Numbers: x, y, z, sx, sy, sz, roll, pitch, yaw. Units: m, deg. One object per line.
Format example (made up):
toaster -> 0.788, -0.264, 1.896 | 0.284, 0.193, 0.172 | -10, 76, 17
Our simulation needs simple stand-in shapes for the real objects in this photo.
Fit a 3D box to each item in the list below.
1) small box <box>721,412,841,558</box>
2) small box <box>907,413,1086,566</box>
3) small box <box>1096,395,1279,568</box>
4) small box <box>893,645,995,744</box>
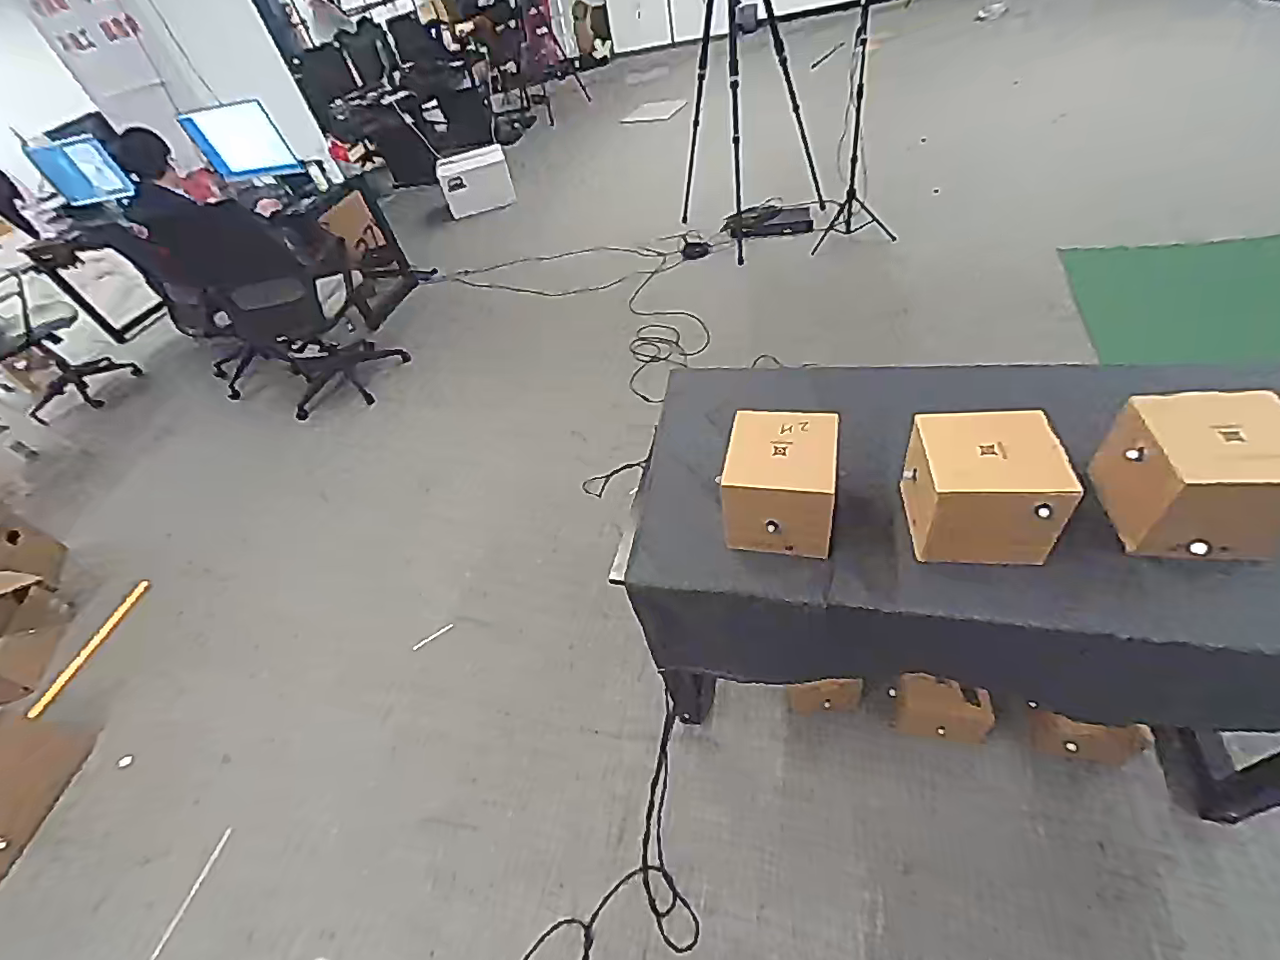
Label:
small box -> 0.237, 0.009, 0.896 | 0.168, 0.176, 0.179 | 5, 49, 18
small box -> 0.516, 0.017, 0.819 | 0.179, 0.176, 0.168 | -1, 47, 14
small box -> 0.792, 0.001, 0.761 | 0.168, 0.176, 0.179 | 0, 48, 16
small box -> 0.722, 0.520, 1.305 | 0.179, 0.176, 0.168 | 1, 48, 17
